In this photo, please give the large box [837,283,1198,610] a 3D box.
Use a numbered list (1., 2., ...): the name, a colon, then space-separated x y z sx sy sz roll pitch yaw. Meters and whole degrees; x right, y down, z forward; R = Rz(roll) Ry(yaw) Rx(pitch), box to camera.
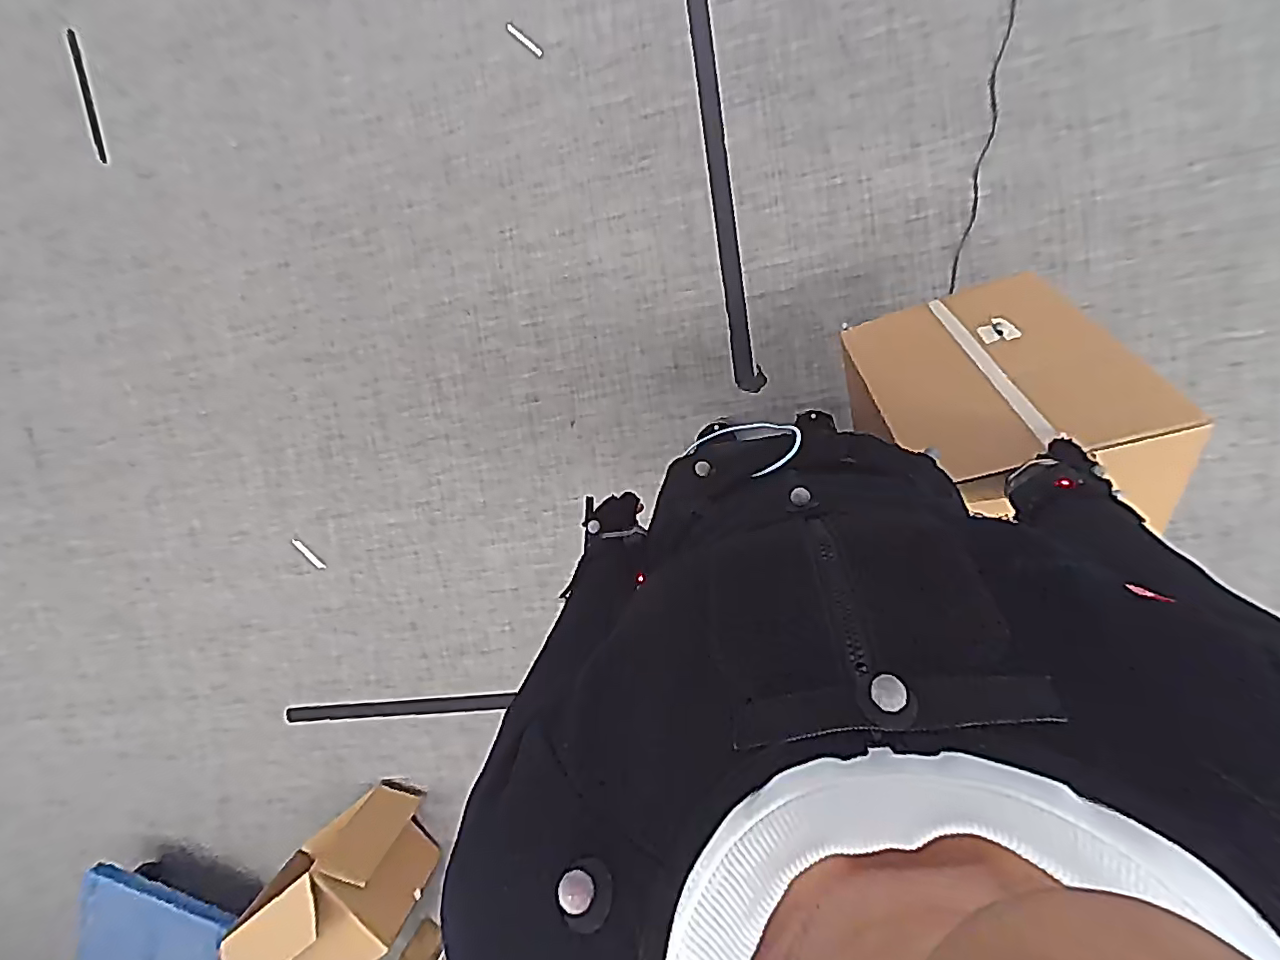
1. large box: 0.558 -0.058 0.899 0.320 0.408 0.320 -15 131 13
